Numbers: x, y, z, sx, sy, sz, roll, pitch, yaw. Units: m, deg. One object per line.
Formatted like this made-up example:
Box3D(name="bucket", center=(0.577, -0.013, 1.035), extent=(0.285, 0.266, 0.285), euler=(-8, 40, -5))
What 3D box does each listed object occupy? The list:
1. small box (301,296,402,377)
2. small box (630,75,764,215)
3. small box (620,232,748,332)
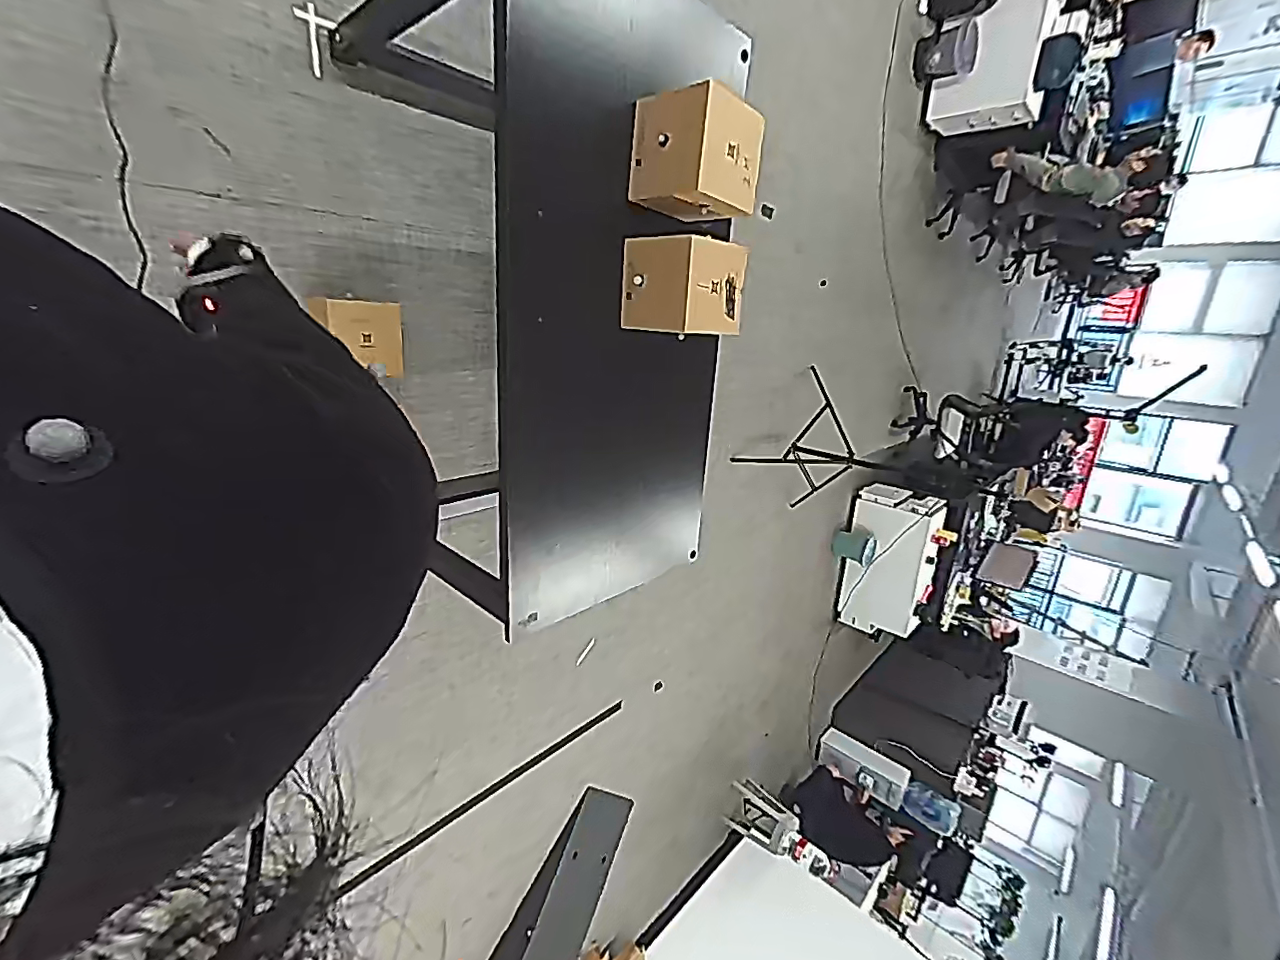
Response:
Box3D(name="small box", center=(-0.699, -0.349, 1.313), extent=(0.168, 0.176, 0.179), euler=(-15, 113, -46))
Box3D(name="small box", center=(0.100, -0.595, 0.990), extent=(0.179, 0.176, 0.168), euler=(-10, 111, -47))
Box3D(name="small box", center=(0.083, -0.379, 1.049), extent=(0.179, 0.176, 0.168), euler=(-14, 115, -44))
